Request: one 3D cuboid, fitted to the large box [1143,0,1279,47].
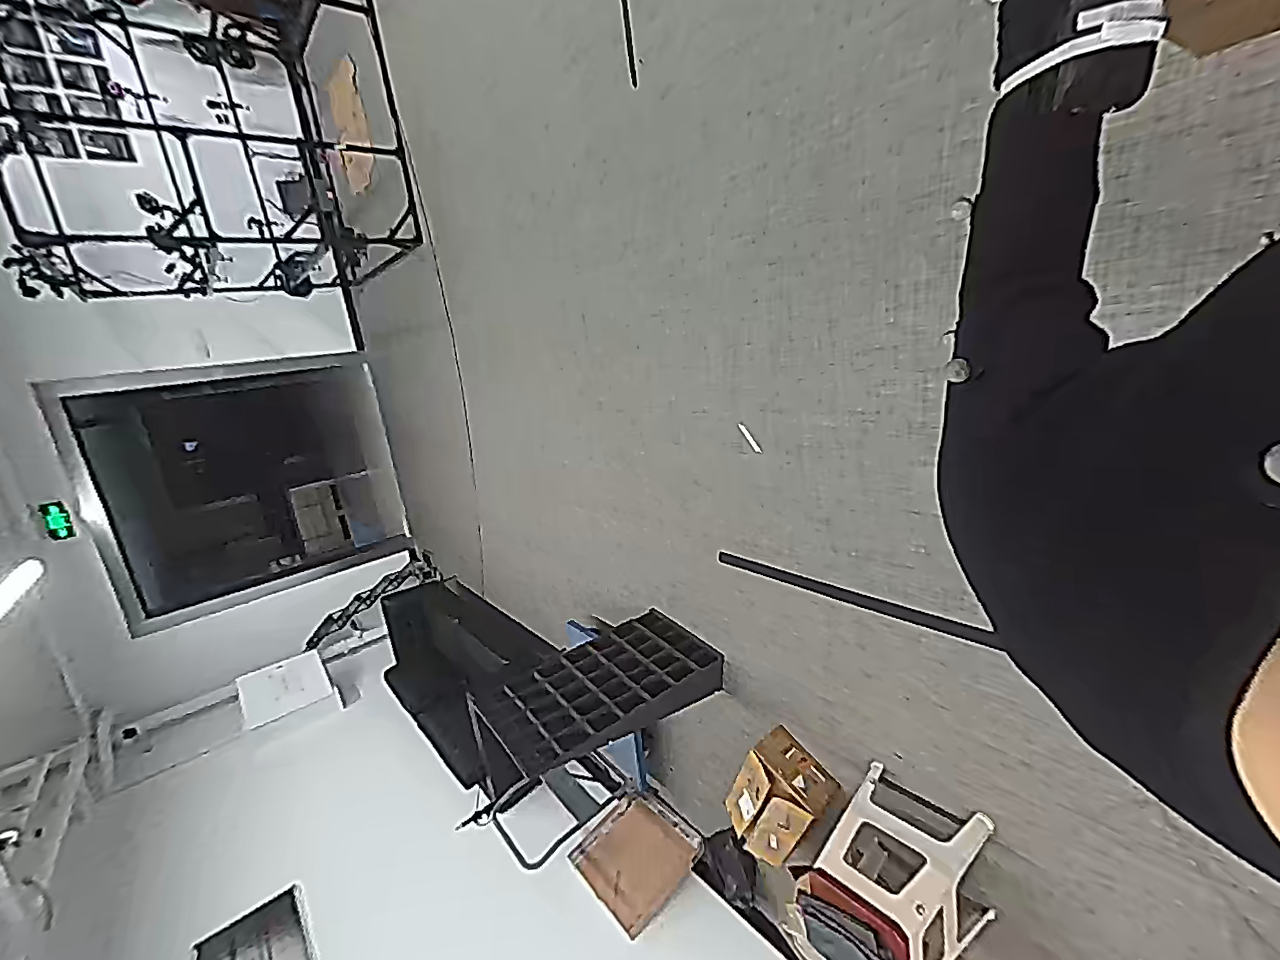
[{"bbox_3d":[0.520,-0.496,0.250,0.408,0.320,0.320,7,116,50],"label":"large box"}]
